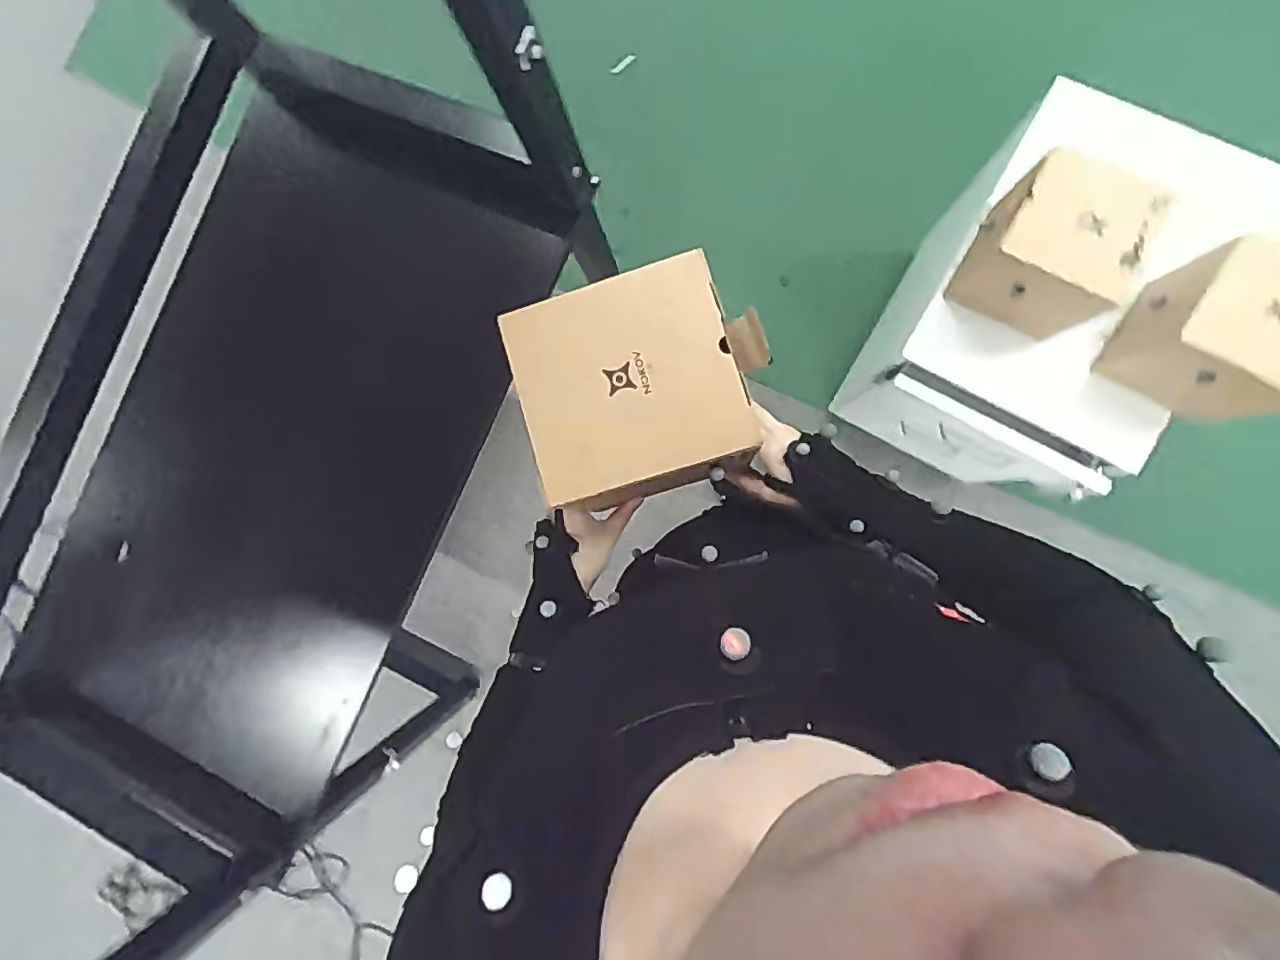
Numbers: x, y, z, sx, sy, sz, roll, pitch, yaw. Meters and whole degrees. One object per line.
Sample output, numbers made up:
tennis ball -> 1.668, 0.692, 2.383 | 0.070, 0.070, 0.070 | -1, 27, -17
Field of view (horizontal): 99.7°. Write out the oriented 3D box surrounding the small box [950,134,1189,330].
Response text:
small box -> 0.586, -0.336, 0.768 | 0.179, 0.176, 0.168 | 28, 92, 7

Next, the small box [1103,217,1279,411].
small box -> 0.799, -0.209, 0.733 | 0.179, 0.176, 0.168 | 31, 93, 7
